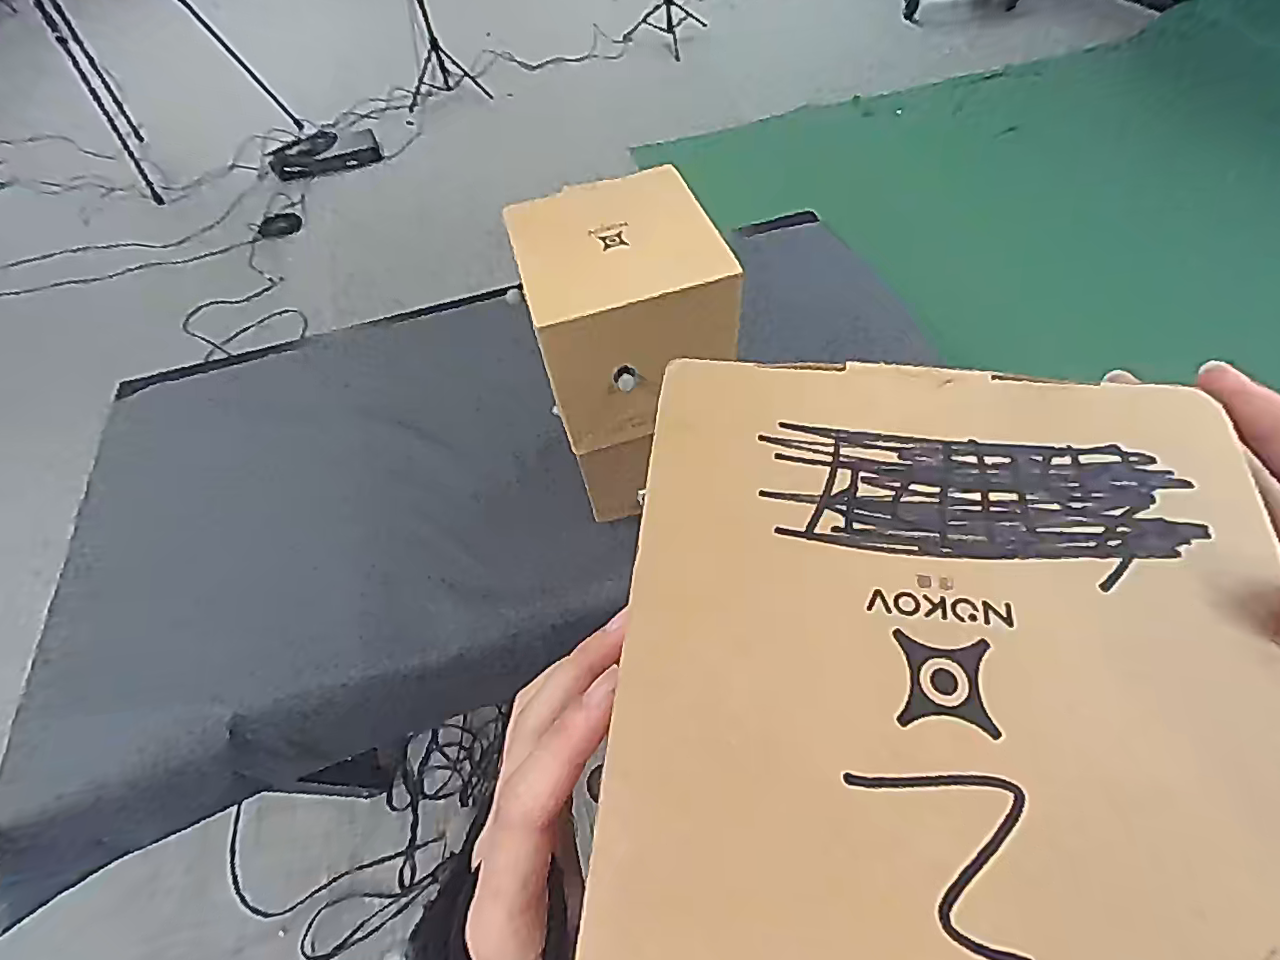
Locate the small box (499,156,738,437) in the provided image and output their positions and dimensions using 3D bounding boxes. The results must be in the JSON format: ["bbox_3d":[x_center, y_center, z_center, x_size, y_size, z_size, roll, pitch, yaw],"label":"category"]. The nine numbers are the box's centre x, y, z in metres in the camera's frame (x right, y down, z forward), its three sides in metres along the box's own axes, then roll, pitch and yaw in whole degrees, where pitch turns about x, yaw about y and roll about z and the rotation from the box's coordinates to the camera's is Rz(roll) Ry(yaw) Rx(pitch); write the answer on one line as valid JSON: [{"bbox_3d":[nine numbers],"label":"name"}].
[{"bbox_3d":[-0.017,-0.161,0.509,0.168,0.176,0.179,-17,57,-4],"label":"small box"}]

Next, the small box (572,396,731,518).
[{"bbox_3d":[-0.002,-0.082,0.651,0.168,0.176,0.179,-16,59,-4],"label":"small box"}]
